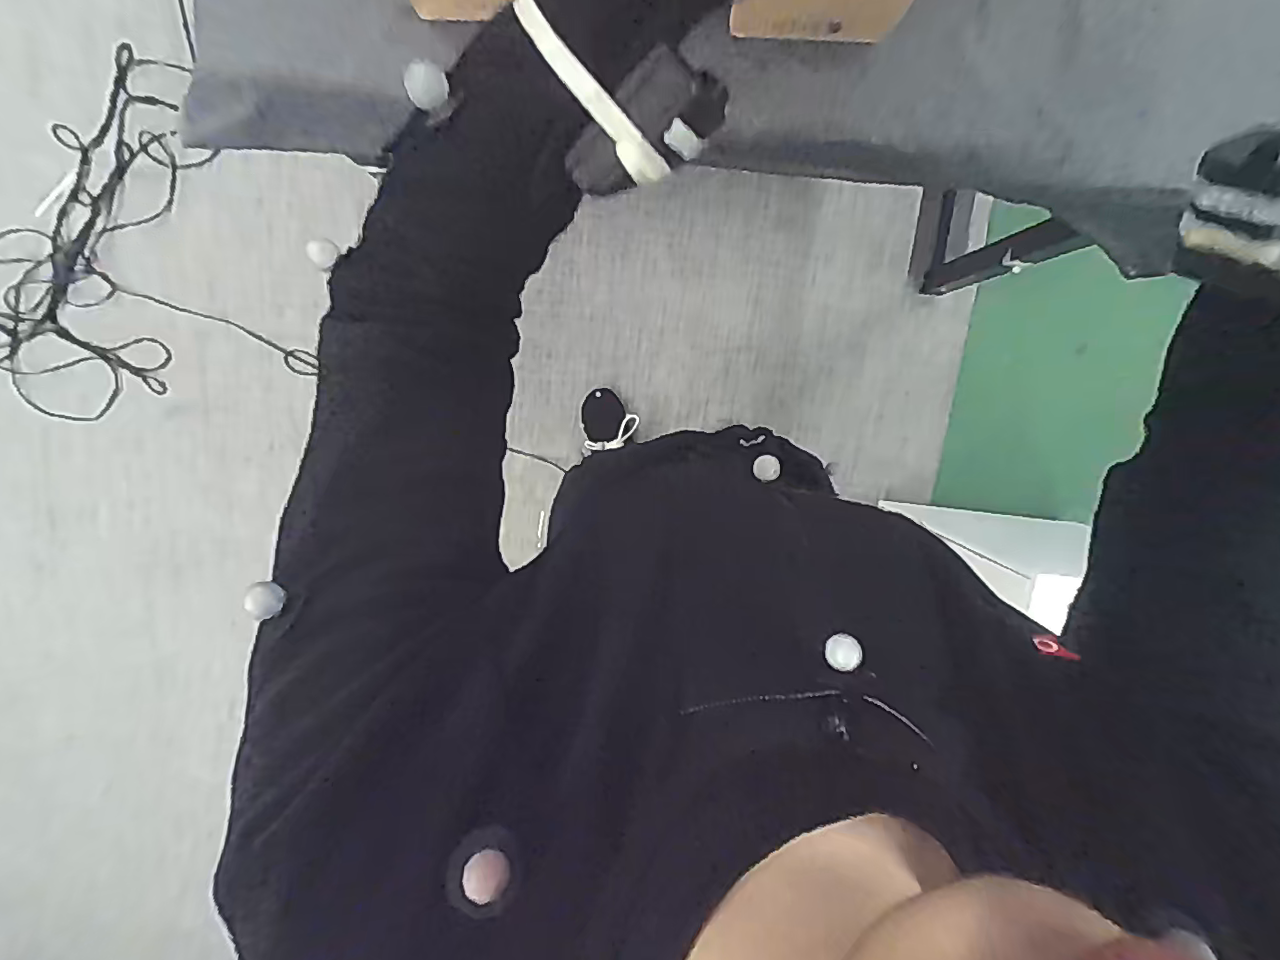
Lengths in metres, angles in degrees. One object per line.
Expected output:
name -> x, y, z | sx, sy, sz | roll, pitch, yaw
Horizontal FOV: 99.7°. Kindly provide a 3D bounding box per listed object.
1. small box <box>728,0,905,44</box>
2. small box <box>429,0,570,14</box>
small box -> 0.174, -0.534, 0.471 | 0.168, 0.176, 0.179 | 3, 98, 0
small box -> -0.149, -0.551, 0.466 | 0.168, 0.176, 0.179 | 1, 99, 0
